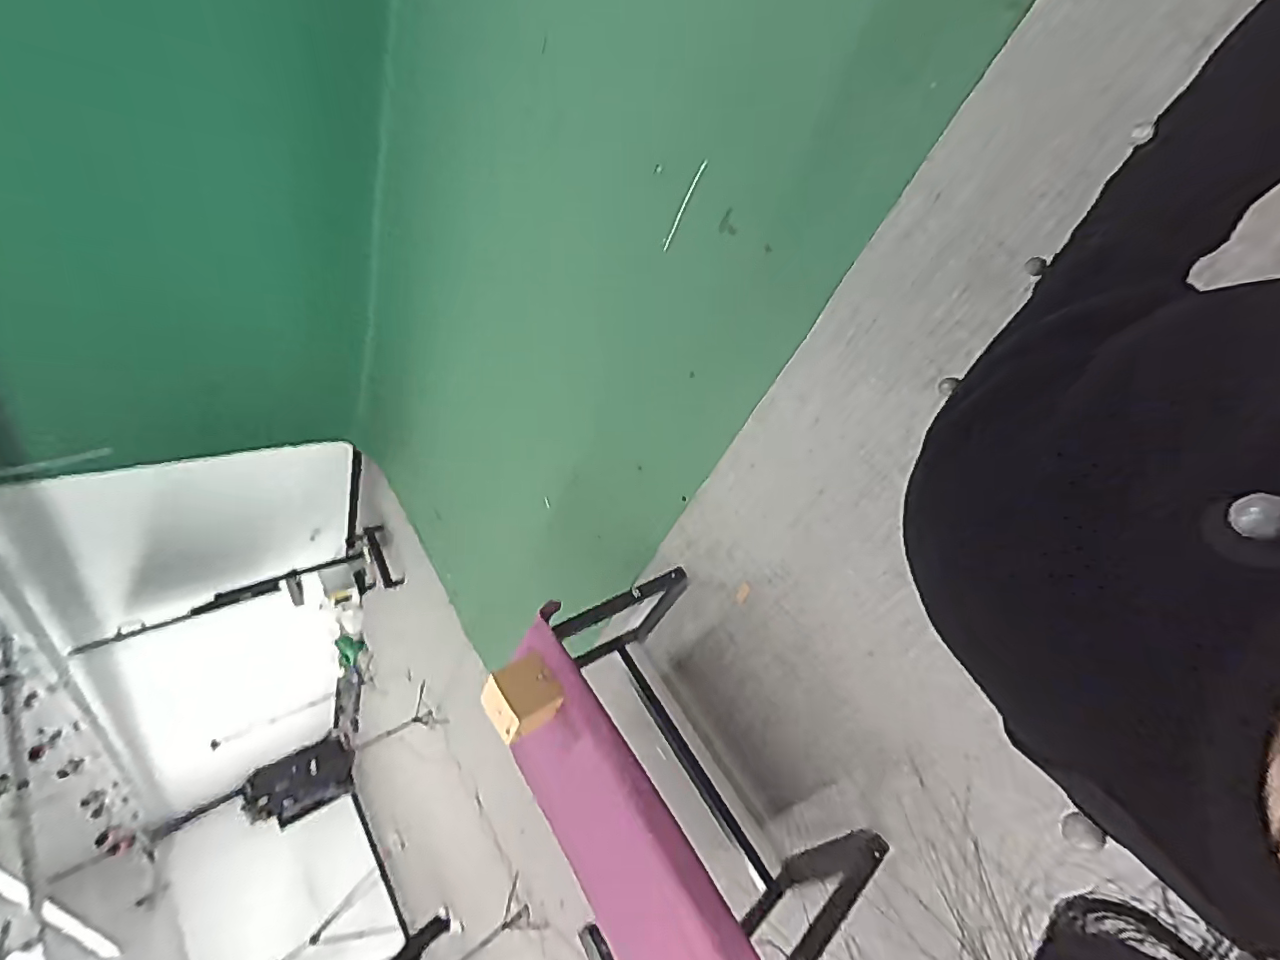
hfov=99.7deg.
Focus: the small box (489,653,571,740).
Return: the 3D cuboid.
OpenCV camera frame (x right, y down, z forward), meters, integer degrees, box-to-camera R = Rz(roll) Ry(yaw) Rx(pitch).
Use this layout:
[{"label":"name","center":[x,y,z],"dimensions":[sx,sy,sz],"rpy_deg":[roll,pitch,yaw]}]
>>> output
[{"label":"small box","center":[-0.346,0.669,1.699],"dimensions":[0.179,0.176,0.168],"rpy_deg":[49,133,26]}]
